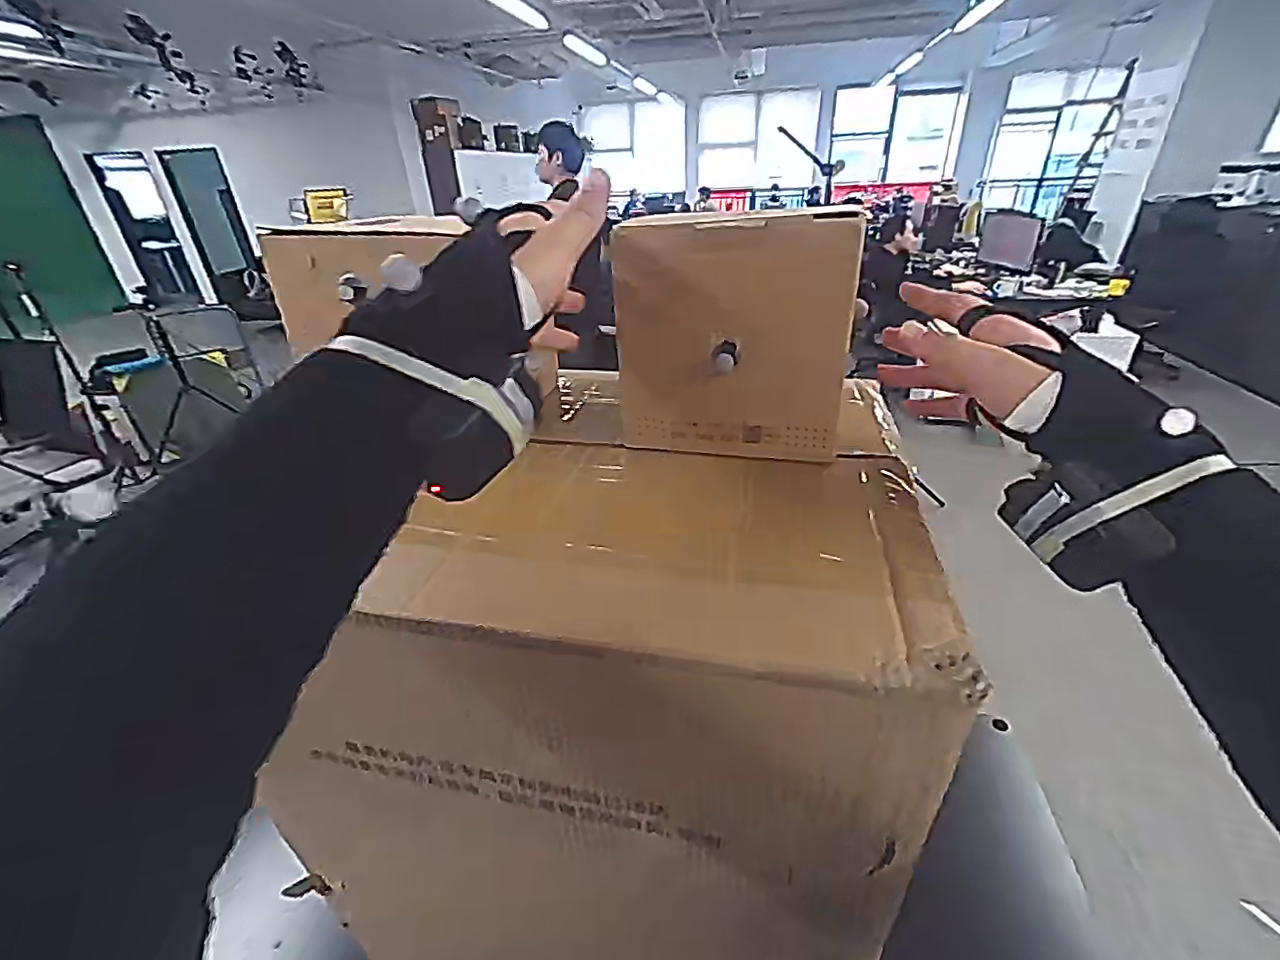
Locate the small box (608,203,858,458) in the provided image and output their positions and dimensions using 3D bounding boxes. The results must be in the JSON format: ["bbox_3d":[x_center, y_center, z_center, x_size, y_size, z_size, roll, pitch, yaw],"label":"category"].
[{"bbox_3d":[0.085,-0.129,0.453,0.168,0.176,0.179,5,29,16],"label":"small box"}]

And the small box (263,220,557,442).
[{"bbox_3d":[-0.190,-0.144,0.504,0.179,0.176,0.168,6,30,12],"label":"small box"}]
